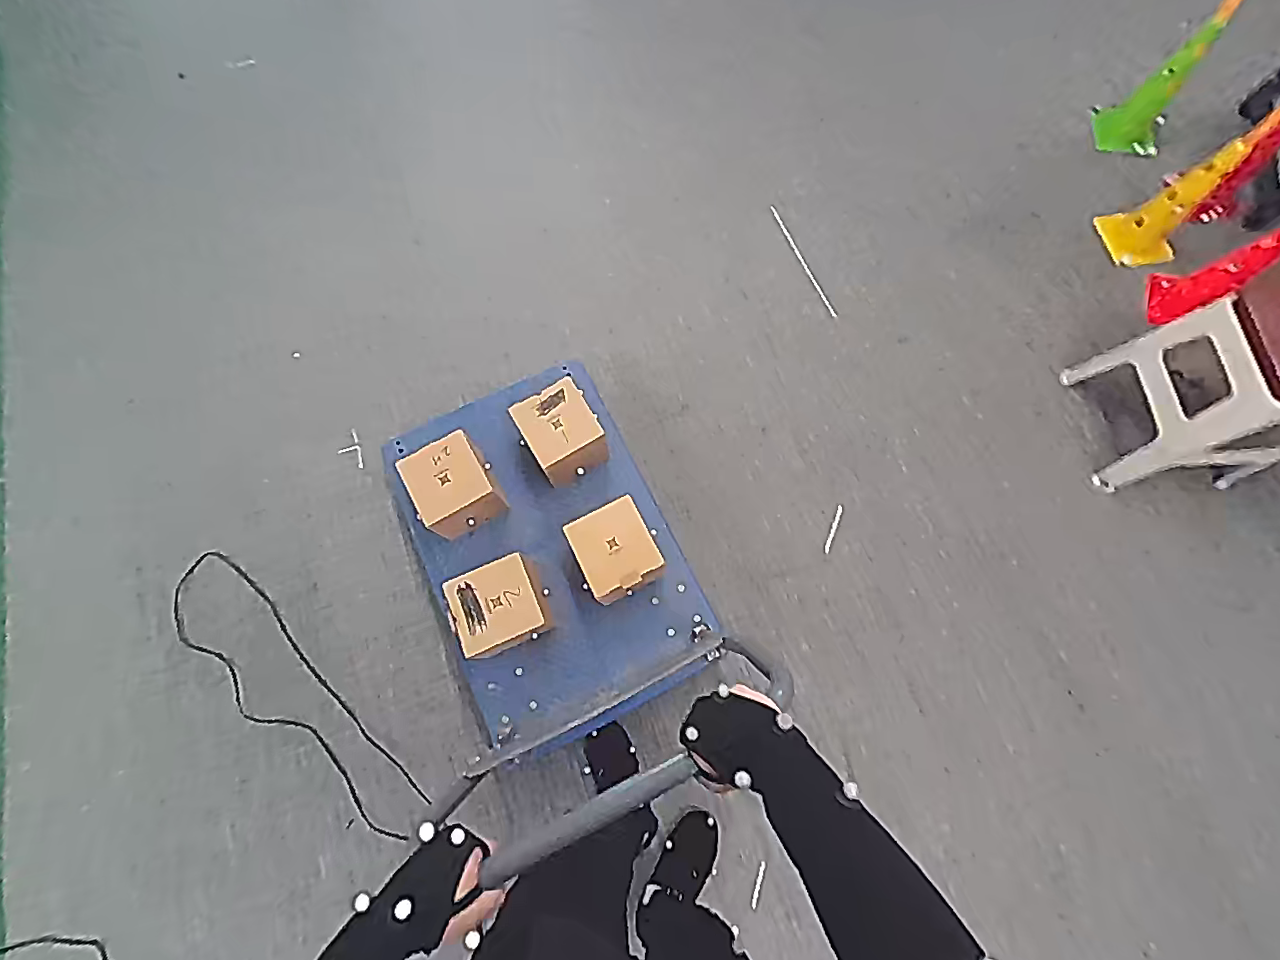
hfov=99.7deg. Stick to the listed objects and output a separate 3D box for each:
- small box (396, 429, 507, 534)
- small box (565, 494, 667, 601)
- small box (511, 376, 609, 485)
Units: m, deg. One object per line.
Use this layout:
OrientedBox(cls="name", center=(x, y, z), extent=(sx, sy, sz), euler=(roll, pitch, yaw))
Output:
OrientedBox(cls="small box", center=(-0.434, 0.015, 1.275), extent=(0.168, 0.176, 0.179), euler=(-29, 75, -9))
OrientedBox(cls="small box", center=(-0.053, 0.161, 1.229), extent=(0.168, 0.176, 0.179), euler=(-27, 76, -7))
OrientedBox(cls="small box", center=(-0.189, -0.114, 1.312), extent=(0.168, 0.176, 0.179), euler=(-30, 76, -8))
